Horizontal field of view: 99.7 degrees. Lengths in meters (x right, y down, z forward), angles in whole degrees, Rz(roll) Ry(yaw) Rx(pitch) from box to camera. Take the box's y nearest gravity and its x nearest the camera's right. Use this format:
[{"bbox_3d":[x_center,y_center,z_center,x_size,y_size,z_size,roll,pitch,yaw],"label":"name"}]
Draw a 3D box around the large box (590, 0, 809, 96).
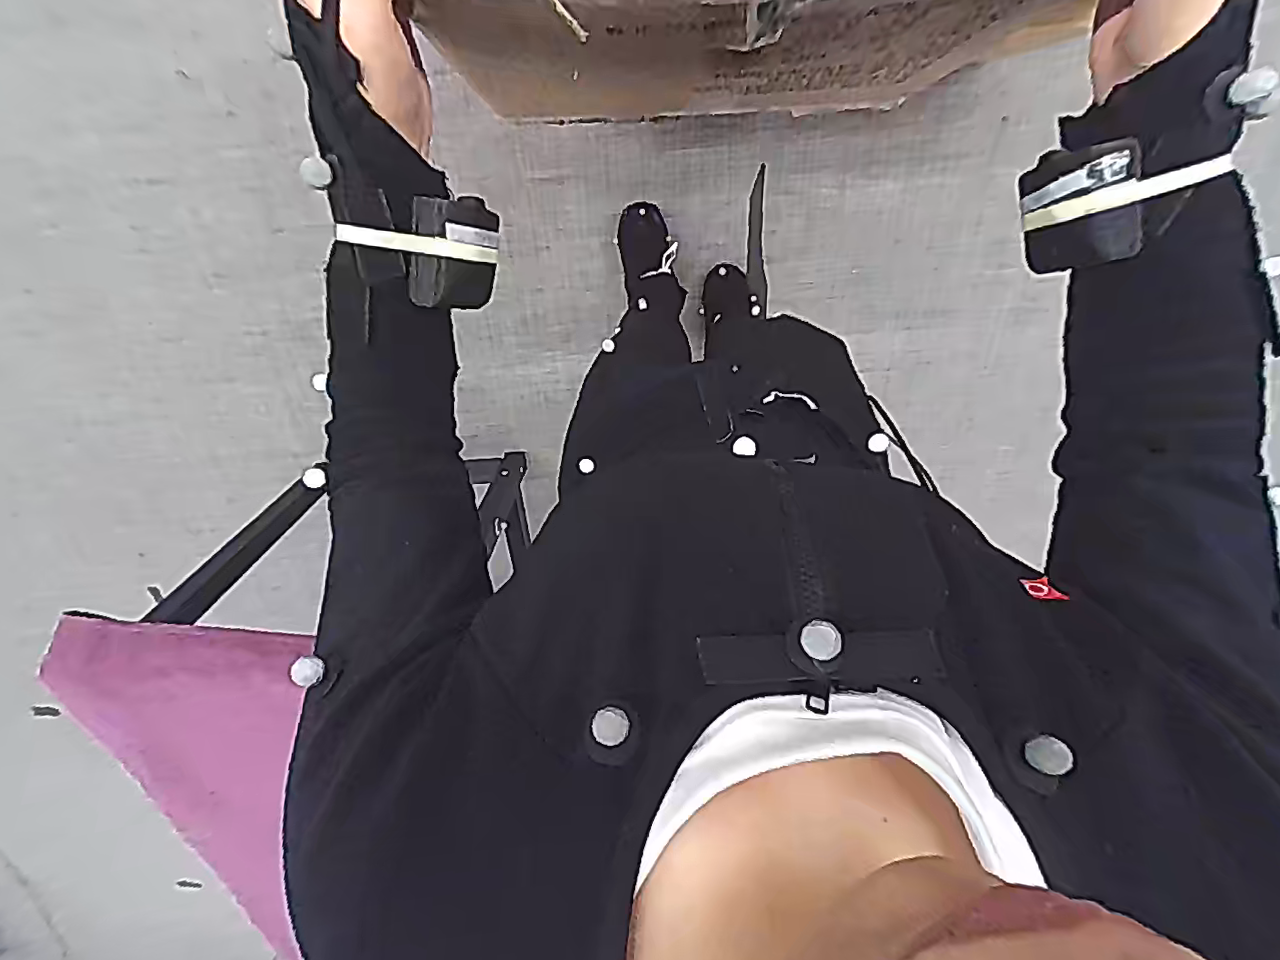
[{"bbox_3d":[0.071,-0.862,0.829,0.320,0.320,0.408,-4,120,3],"label":"large box"}]
